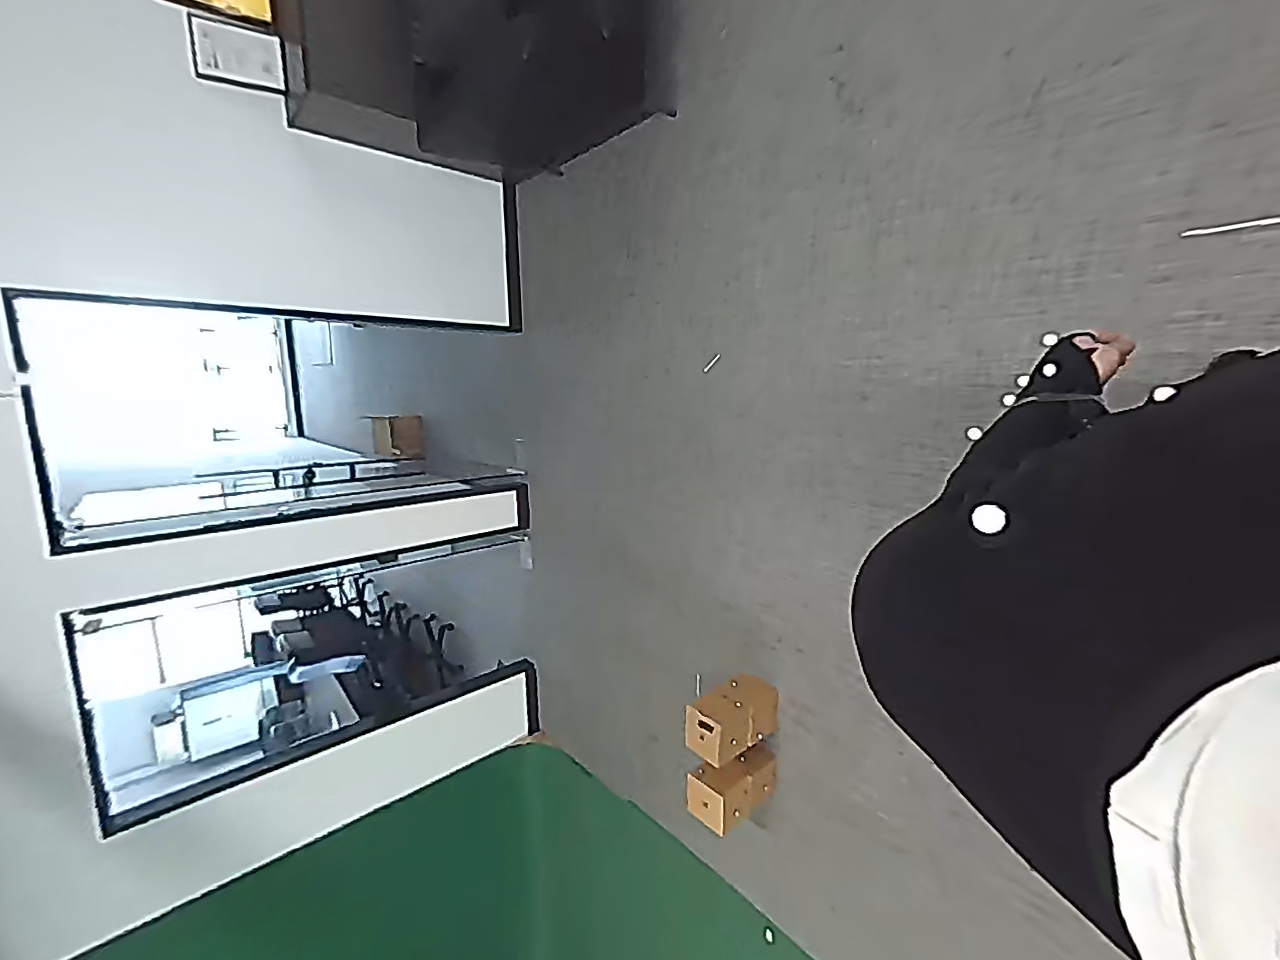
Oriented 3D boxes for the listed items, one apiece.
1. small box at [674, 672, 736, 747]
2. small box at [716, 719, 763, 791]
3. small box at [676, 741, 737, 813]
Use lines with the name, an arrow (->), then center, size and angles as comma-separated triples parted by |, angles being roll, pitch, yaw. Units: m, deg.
small box -> 0.246, 0.856, 2.039 | 0.168, 0.176, 0.179 | 16, 110, 46
small box -> 0.378, 1.102, 2.191 | 0.179, 0.176, 0.168 | 14, 108, 45
small box -> 0.260, 1.123, 2.083 | 0.179, 0.176, 0.168 | 11, 106, 47
